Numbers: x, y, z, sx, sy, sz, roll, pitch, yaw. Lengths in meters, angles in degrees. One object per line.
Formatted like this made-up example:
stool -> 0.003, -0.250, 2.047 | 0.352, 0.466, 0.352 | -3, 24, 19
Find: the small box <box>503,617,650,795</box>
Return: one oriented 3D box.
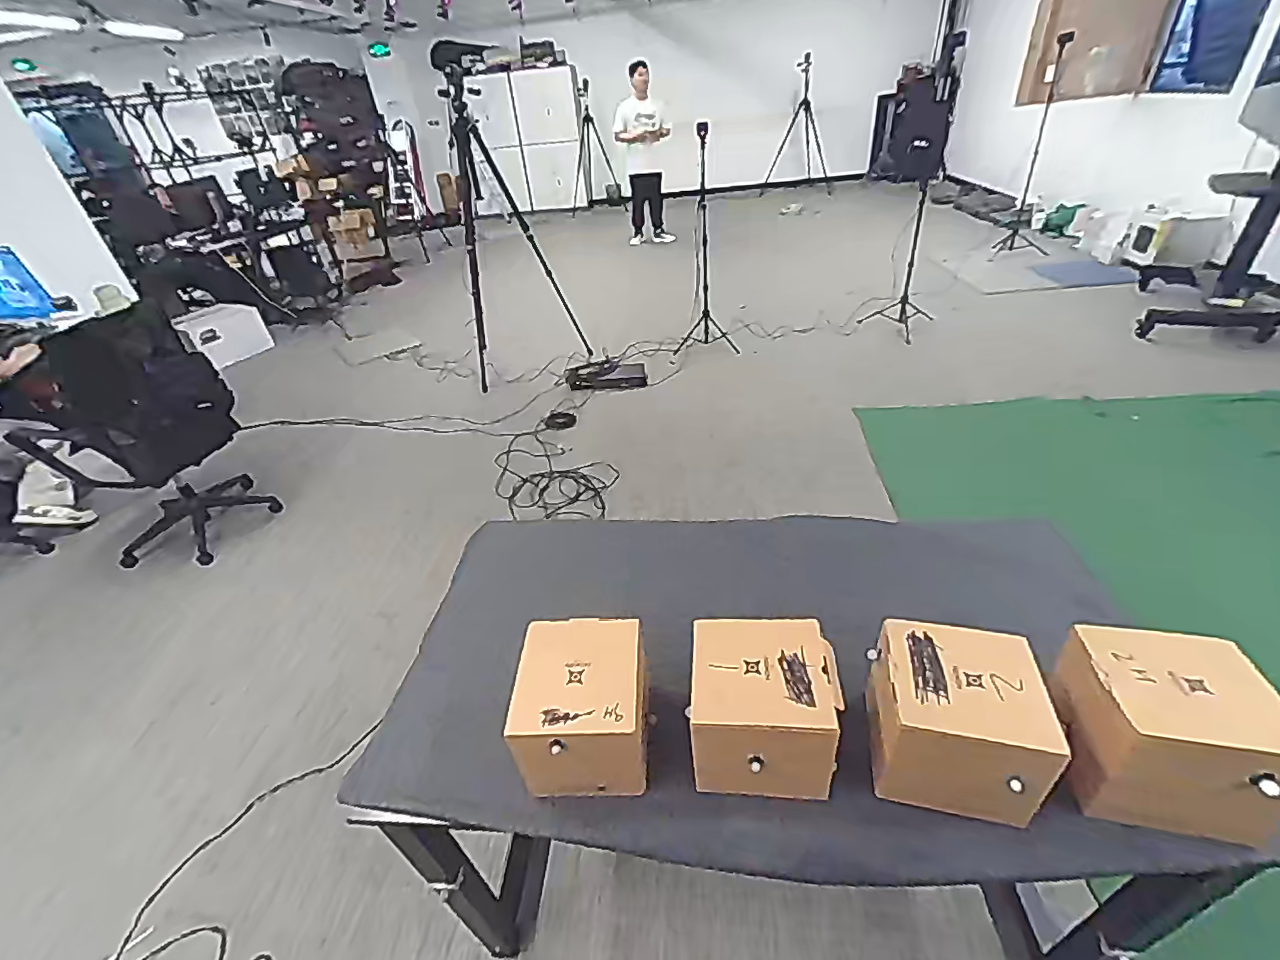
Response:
small box -> -0.077, 0.319, 0.772 | 0.168, 0.176, 0.179 | -4, 36, 6
